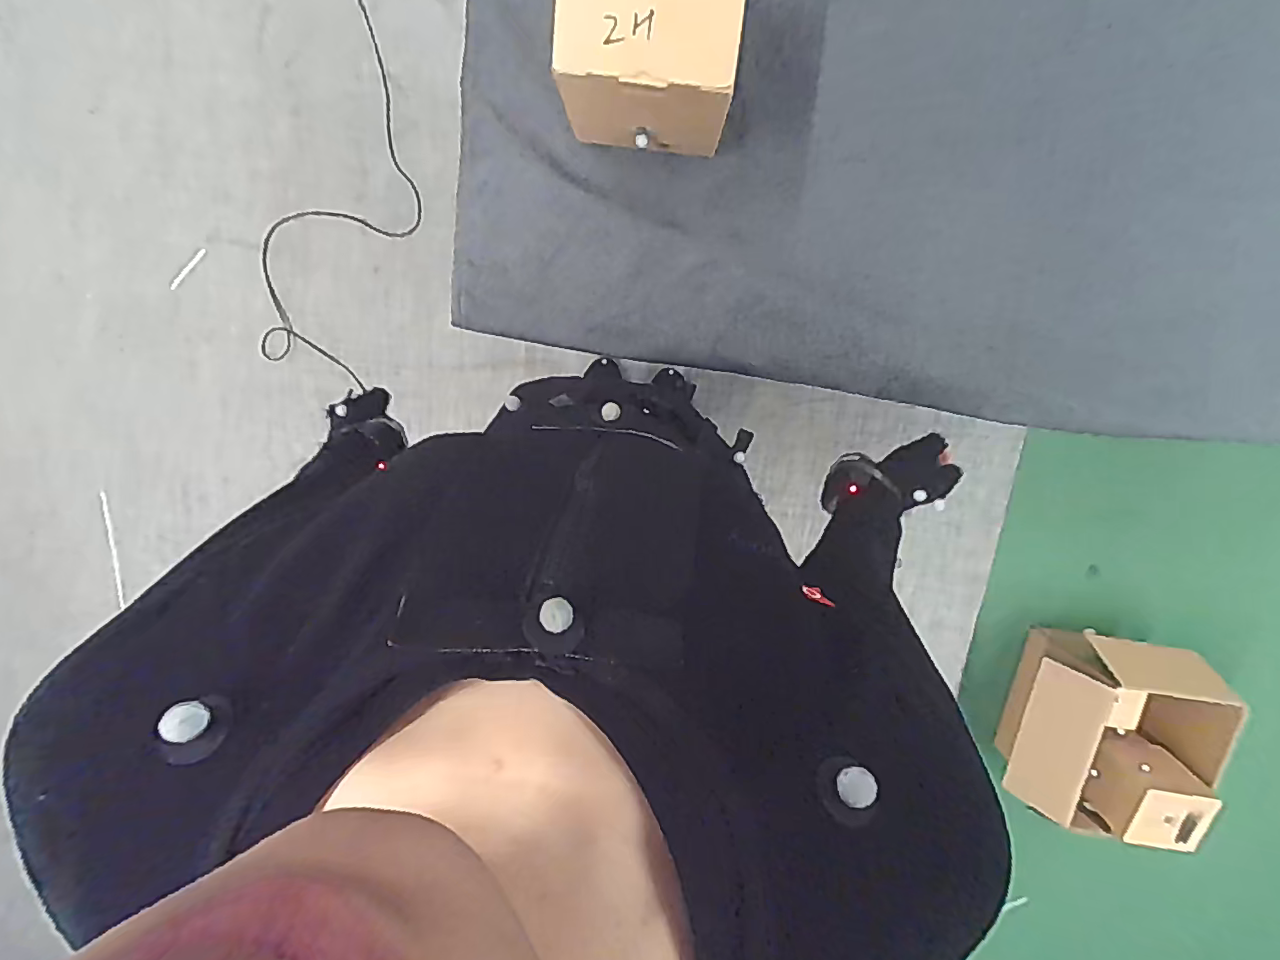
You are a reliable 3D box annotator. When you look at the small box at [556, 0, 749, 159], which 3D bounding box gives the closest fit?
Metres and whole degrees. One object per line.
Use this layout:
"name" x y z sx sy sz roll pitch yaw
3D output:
"small box" 0.016 -0.457 0.545 0.168 0.176 0.179 7 103 0
